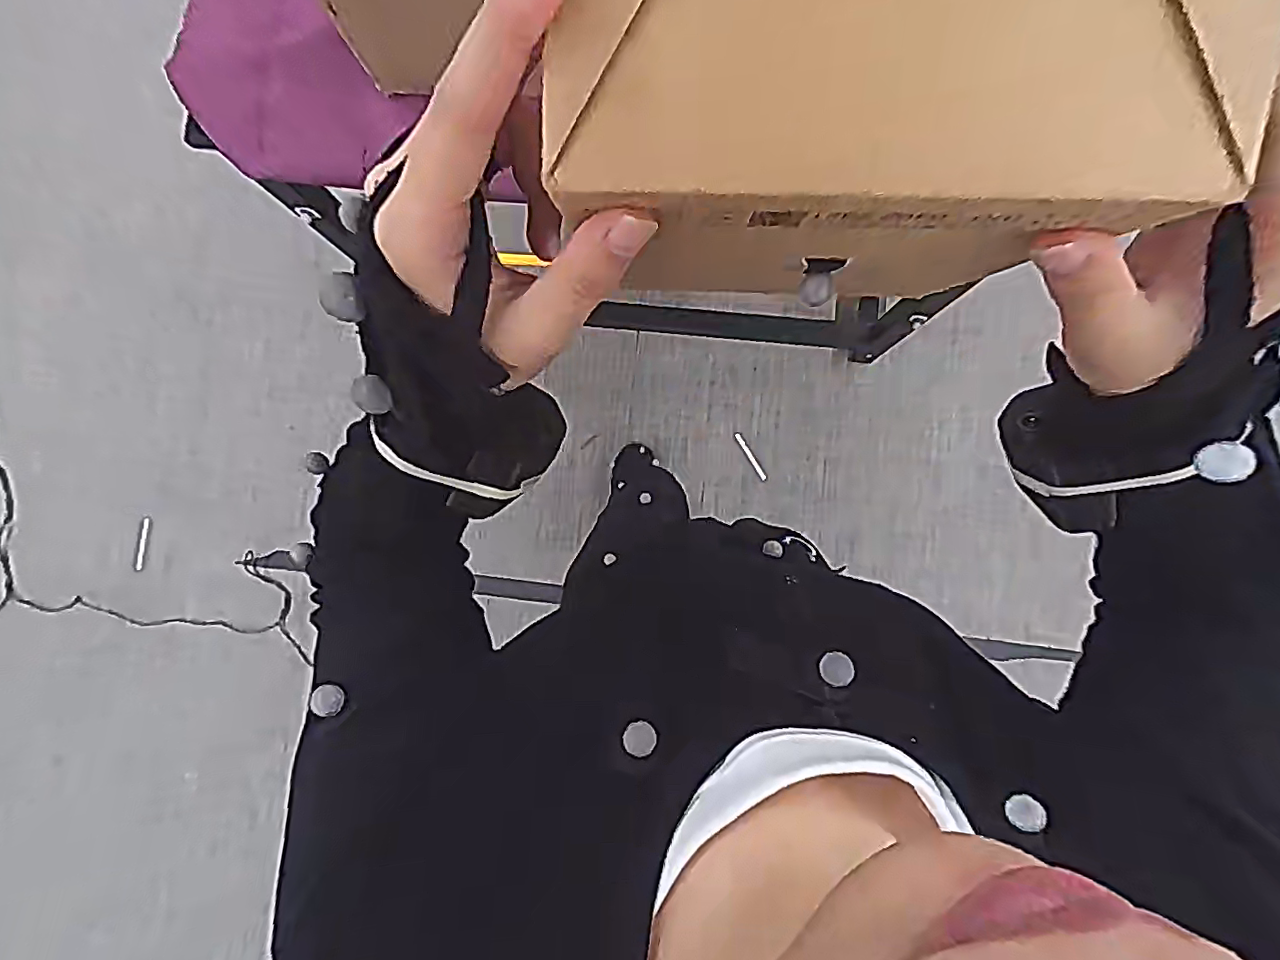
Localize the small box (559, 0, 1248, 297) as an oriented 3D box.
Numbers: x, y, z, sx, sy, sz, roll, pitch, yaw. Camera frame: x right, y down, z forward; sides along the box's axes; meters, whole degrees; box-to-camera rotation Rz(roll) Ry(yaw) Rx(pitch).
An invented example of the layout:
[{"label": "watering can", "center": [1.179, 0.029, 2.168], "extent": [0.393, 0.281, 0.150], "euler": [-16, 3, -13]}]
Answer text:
[{"label": "small box", "center": [0.066, -0.170, 0.196], "extent": [0.168, 0.176, 0.179], "euler": [2, 101, 2]}]
